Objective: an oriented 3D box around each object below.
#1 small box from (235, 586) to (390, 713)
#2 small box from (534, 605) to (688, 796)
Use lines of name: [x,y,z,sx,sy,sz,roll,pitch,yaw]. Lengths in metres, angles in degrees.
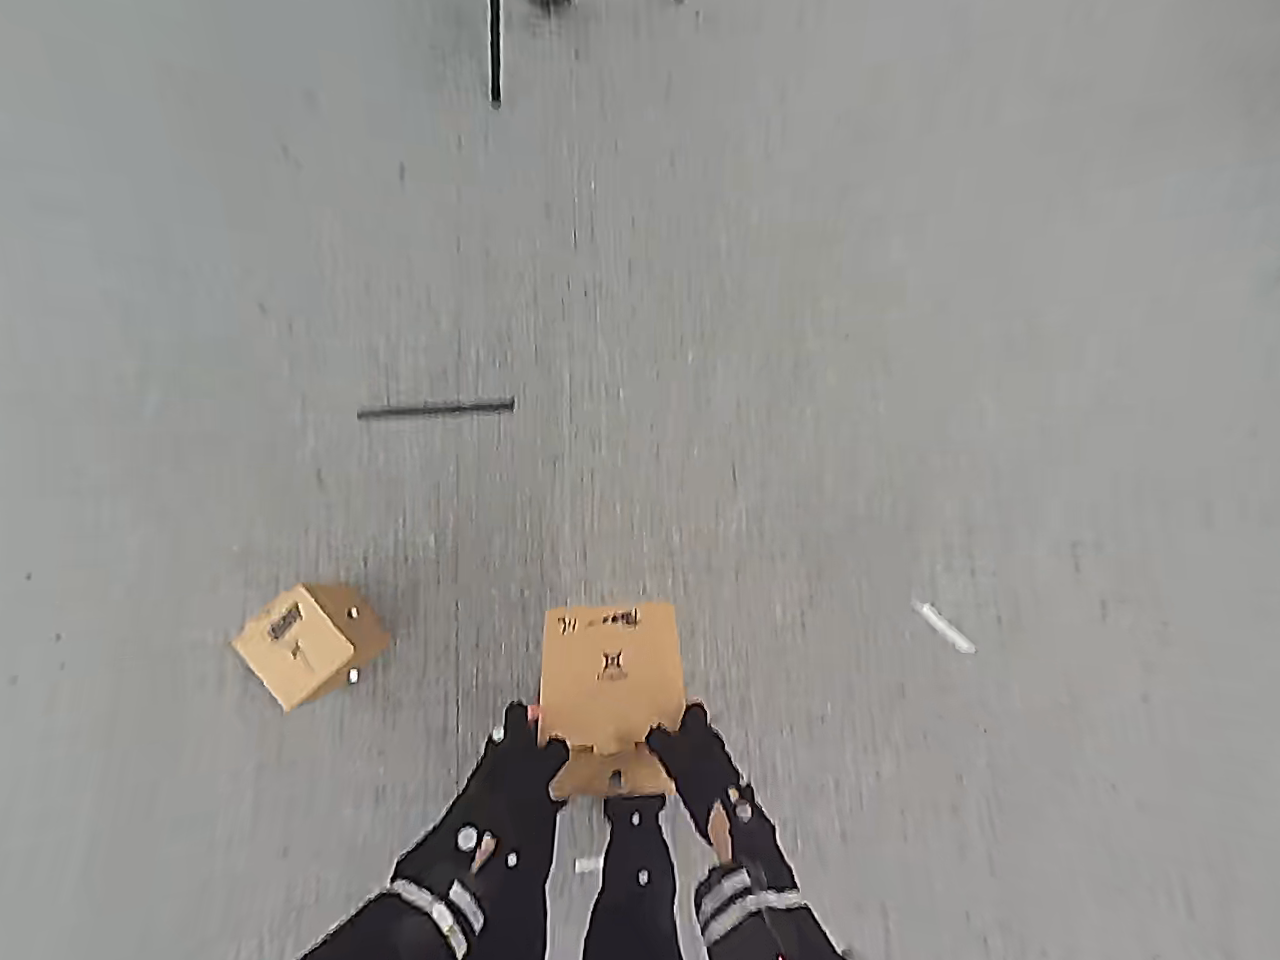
small box: [-0.655,0.335,1.103,0.168,0.176,0.179,-41,84,-7]
small box: [-0.034,0.279,0.677,0.168,0.176,0.179,-2,45,-4]
